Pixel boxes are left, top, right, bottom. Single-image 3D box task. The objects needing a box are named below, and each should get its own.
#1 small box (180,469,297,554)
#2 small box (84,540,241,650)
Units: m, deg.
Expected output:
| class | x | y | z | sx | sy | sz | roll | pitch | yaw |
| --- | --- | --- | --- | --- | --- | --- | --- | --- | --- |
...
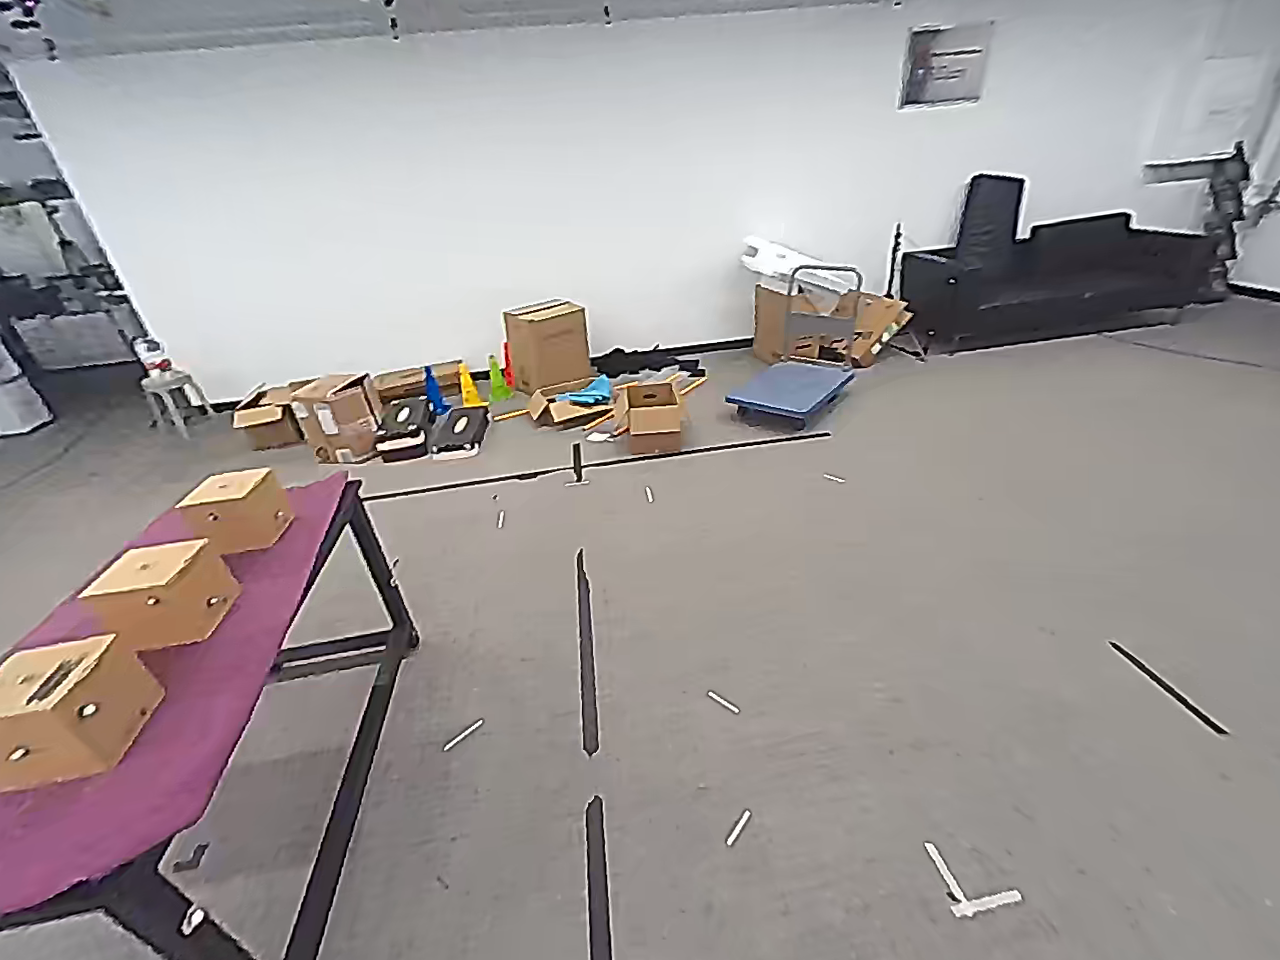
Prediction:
| class | x | y | z | sx | sy | sz | roll | pitch | yaw |
| --- | --- | --- | --- | --- | --- | --- | --- | --- | --- |
| small box | -1.110 | 0.091 | 1.512 | 0.179 | 0.176 | 0.168 | -8 | 31 | -3 |
| small box | -1.060 | 0.260 | 1.221 | 0.179 | 0.176 | 0.168 | -8 | 30 | -6 |
